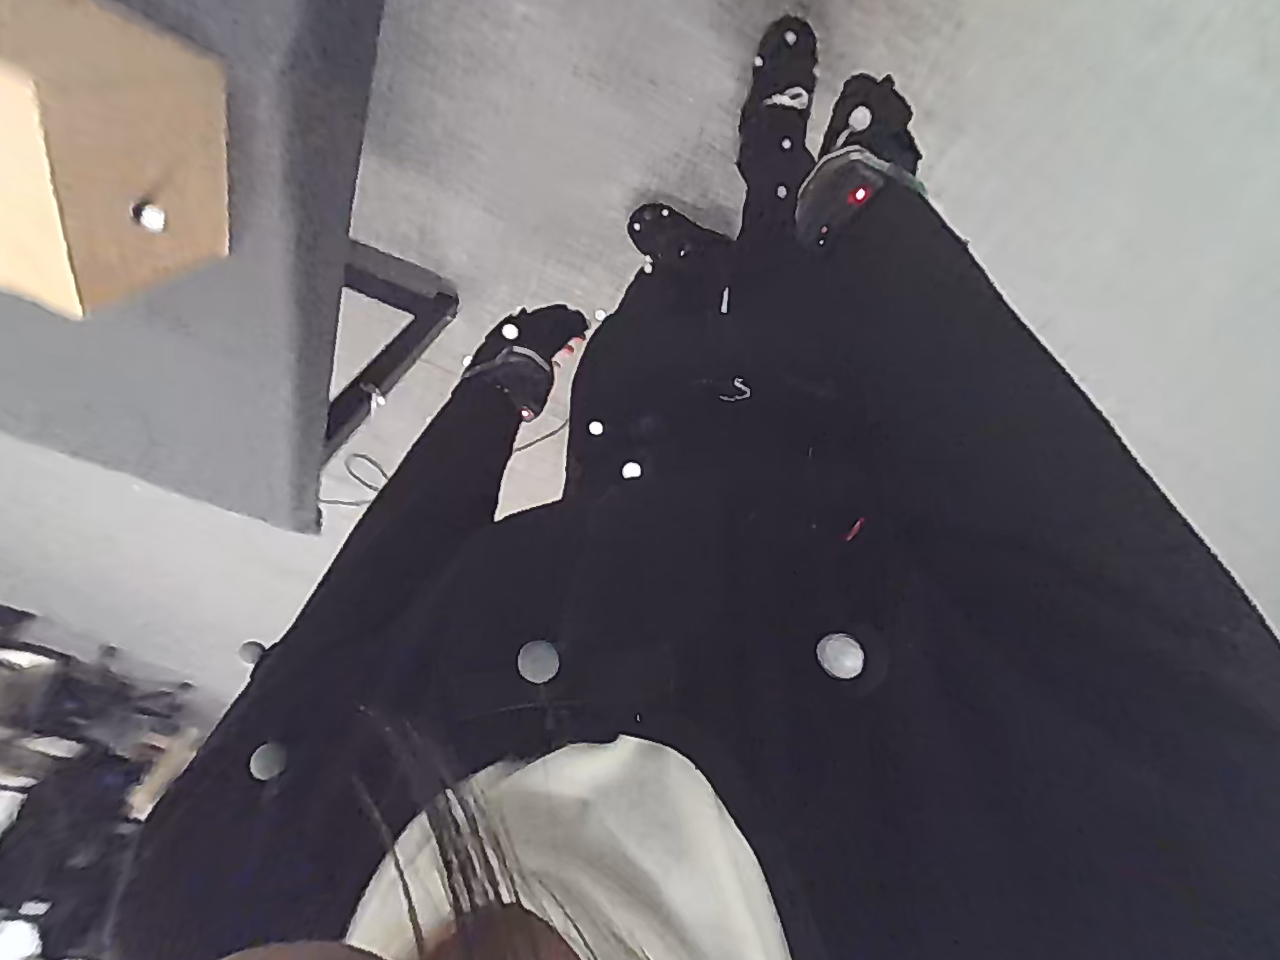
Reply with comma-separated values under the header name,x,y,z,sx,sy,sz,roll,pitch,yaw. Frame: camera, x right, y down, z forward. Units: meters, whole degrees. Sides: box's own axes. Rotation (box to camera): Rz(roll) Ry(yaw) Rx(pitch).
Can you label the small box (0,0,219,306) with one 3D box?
name,x,y,z,sx,sy,sz,roll,pitch,yaw
small box,-0.473,-0.279,0.425,0.168,0.176,0.179,25,130,-12
